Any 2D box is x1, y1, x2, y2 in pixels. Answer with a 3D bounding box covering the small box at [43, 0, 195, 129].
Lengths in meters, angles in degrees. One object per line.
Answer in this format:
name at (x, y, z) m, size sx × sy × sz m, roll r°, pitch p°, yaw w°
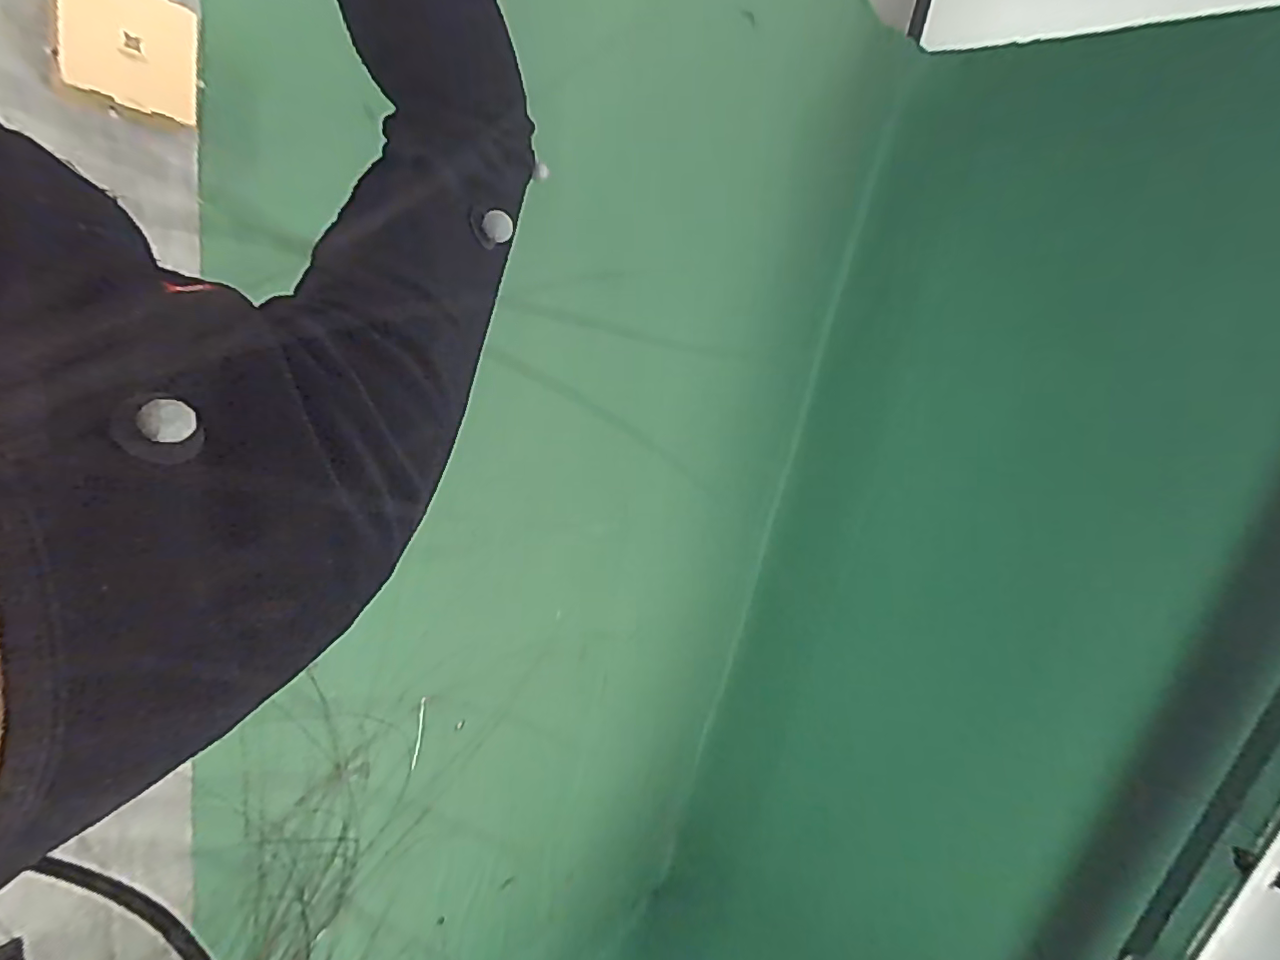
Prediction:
small box at (-0.874, -0.723, 0.910) m, size 0.168 × 0.176 × 0.179 m, roll -6°, pitch 113°, yaw -49°
